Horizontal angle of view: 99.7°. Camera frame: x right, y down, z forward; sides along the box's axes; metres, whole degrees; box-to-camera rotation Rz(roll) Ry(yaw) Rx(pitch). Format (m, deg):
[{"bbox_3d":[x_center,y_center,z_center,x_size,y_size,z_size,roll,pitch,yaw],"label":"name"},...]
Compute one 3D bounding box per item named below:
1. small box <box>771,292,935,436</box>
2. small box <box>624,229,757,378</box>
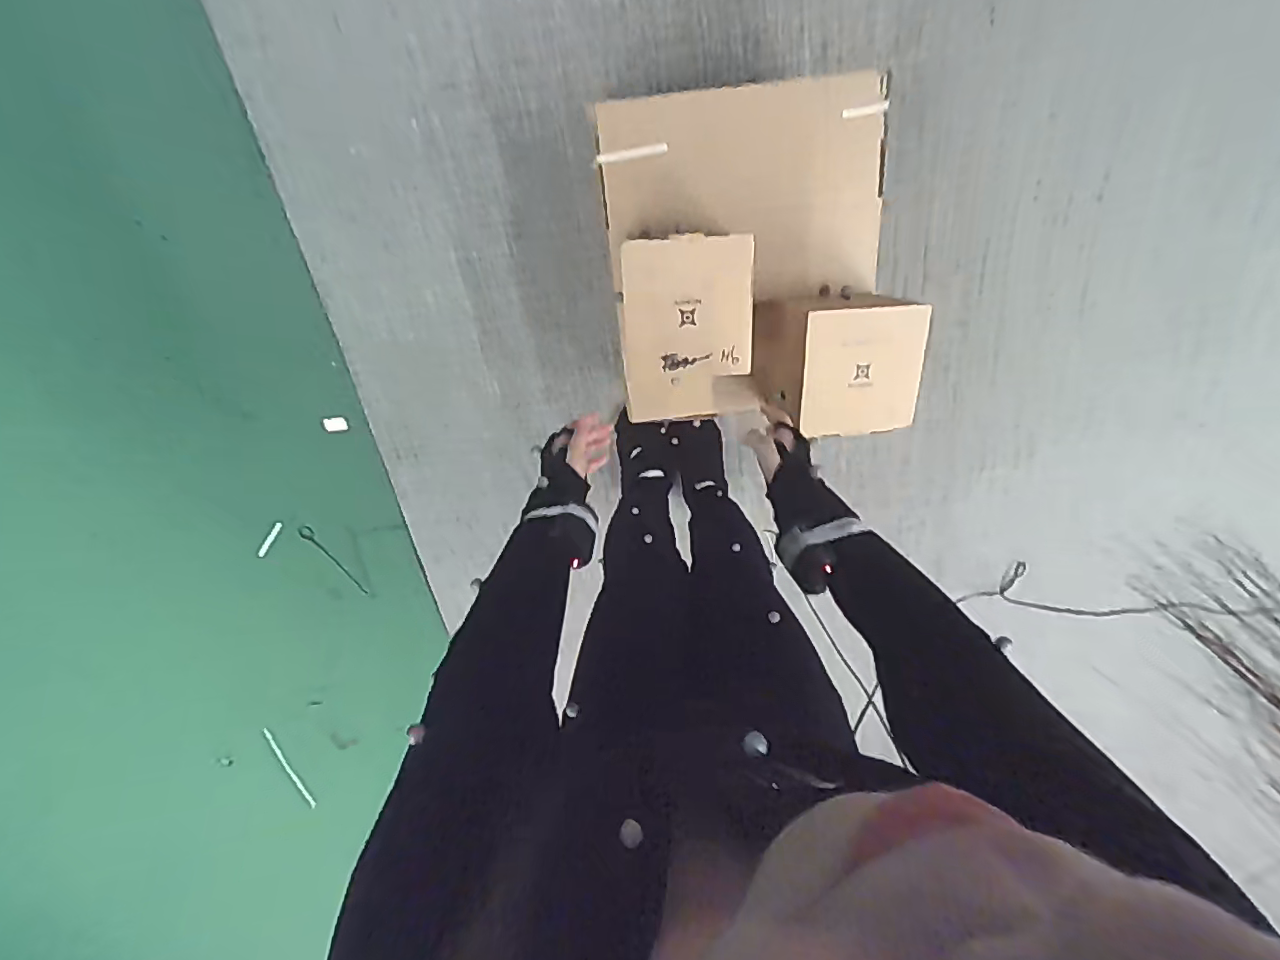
[{"bbox_3d":[0.298,-0.176,0.799,0.168,0.176,0.179,-3,114,-2],"label":"small box"},{"bbox_3d":[0.063,-0.248,0.759,0.168,0.176,0.179,-3,113,1],"label":"small box"}]
